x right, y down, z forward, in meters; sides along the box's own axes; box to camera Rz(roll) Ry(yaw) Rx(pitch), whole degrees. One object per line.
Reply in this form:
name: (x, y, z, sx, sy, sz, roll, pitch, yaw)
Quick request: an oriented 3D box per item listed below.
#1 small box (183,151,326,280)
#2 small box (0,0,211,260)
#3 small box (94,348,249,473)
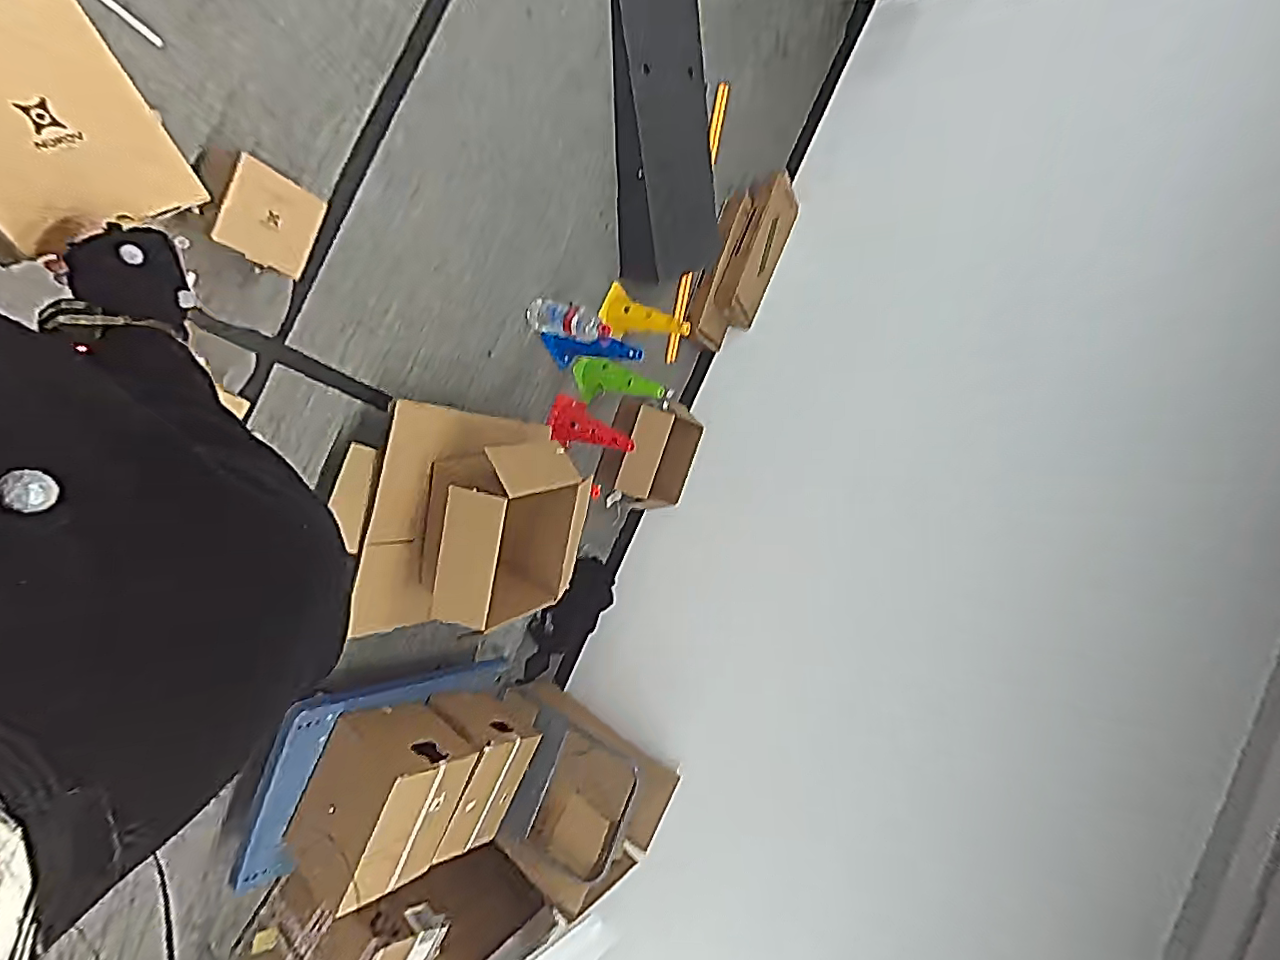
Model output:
small box: (-0.794, -0.541, 1.110, 0.168, 0.176, 0.179, 19, 92, -61)
small box: (-0.574, -0.327, 0.510, 0.168, 0.176, 0.179, -50, 138, -33)
small box: (-0.962, -0.142, 1.108, 0.179, 0.176, 0.168, -63, 151, -7)
